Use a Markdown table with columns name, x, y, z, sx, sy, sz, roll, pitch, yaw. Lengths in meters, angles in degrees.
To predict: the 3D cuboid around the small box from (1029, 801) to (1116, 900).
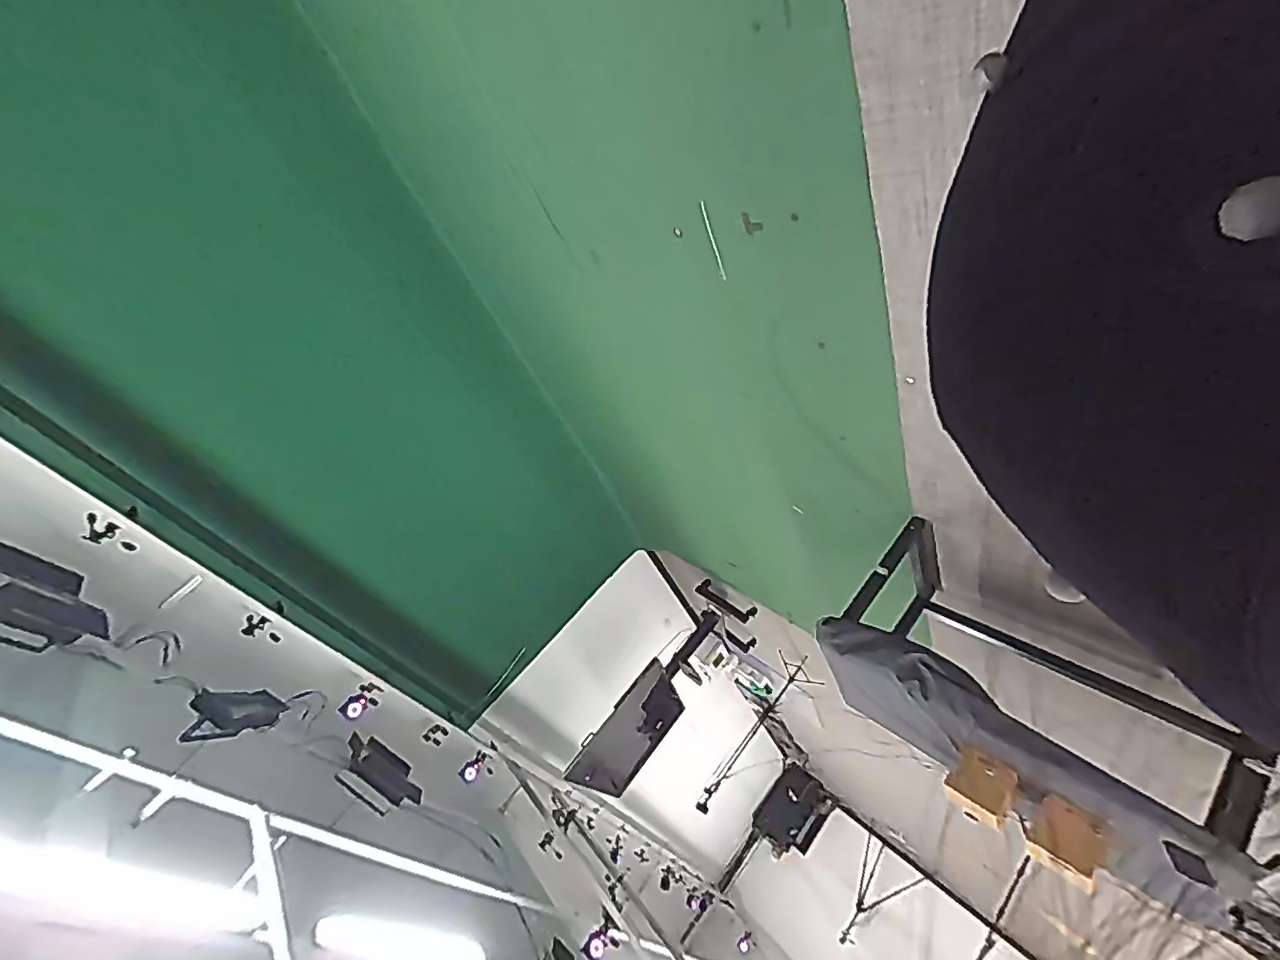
| name | x | y | z | sx | sy | sz | roll | pitch | yaw |
| --- | --- | --- | --- | --- | --- | --- | --- | --- | --- |
| small box | 1.324 | 1.130 | 1.659 | 0.168 | 0.176 | 0.179 | 23 | 153 | 48 |

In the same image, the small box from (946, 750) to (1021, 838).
| name | x | y | z | sx | sy | sz | roll | pitch | yaw |
| --- | --- | --- | --- | --- | --- | --- | --- | --- | --- |
| small box | 1.173 | 1.064 | 1.841 | 0.168 | 0.176 | 0.179 | 20 | 149 | 48 |
